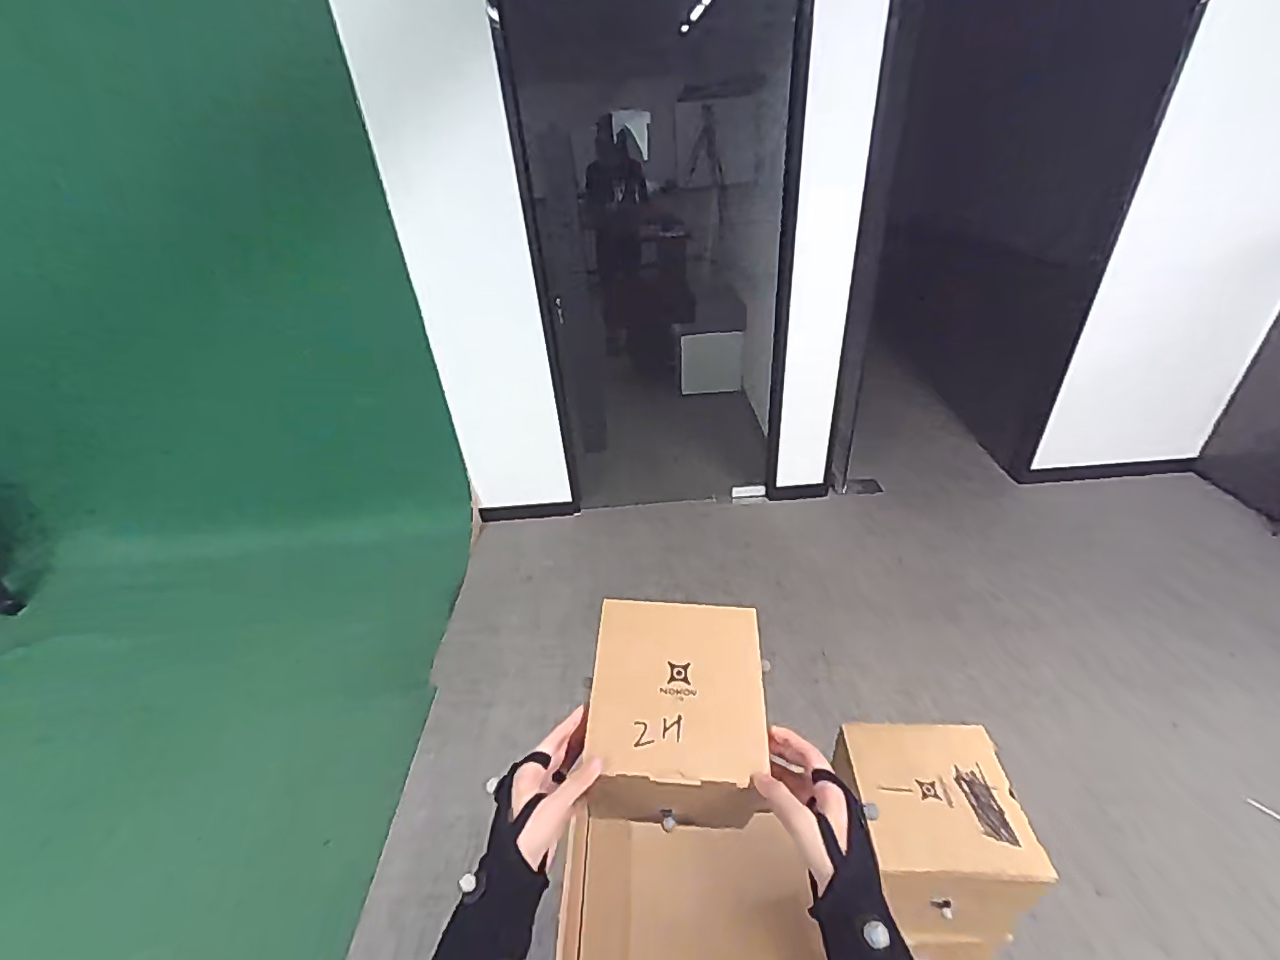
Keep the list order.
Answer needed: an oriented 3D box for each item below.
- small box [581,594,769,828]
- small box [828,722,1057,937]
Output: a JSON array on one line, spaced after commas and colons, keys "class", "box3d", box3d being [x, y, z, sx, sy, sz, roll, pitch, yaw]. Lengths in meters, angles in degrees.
[{"class": "small box", "box3d": [0.036, 0.246, 0.577, 0.168, 0.176, 0.179, 3, 47, 3]}, {"class": "small box", "box3d": [0.339, 0.418, 0.651, 0.179, 0.176, 0.168, -2, 33, 6]}]
